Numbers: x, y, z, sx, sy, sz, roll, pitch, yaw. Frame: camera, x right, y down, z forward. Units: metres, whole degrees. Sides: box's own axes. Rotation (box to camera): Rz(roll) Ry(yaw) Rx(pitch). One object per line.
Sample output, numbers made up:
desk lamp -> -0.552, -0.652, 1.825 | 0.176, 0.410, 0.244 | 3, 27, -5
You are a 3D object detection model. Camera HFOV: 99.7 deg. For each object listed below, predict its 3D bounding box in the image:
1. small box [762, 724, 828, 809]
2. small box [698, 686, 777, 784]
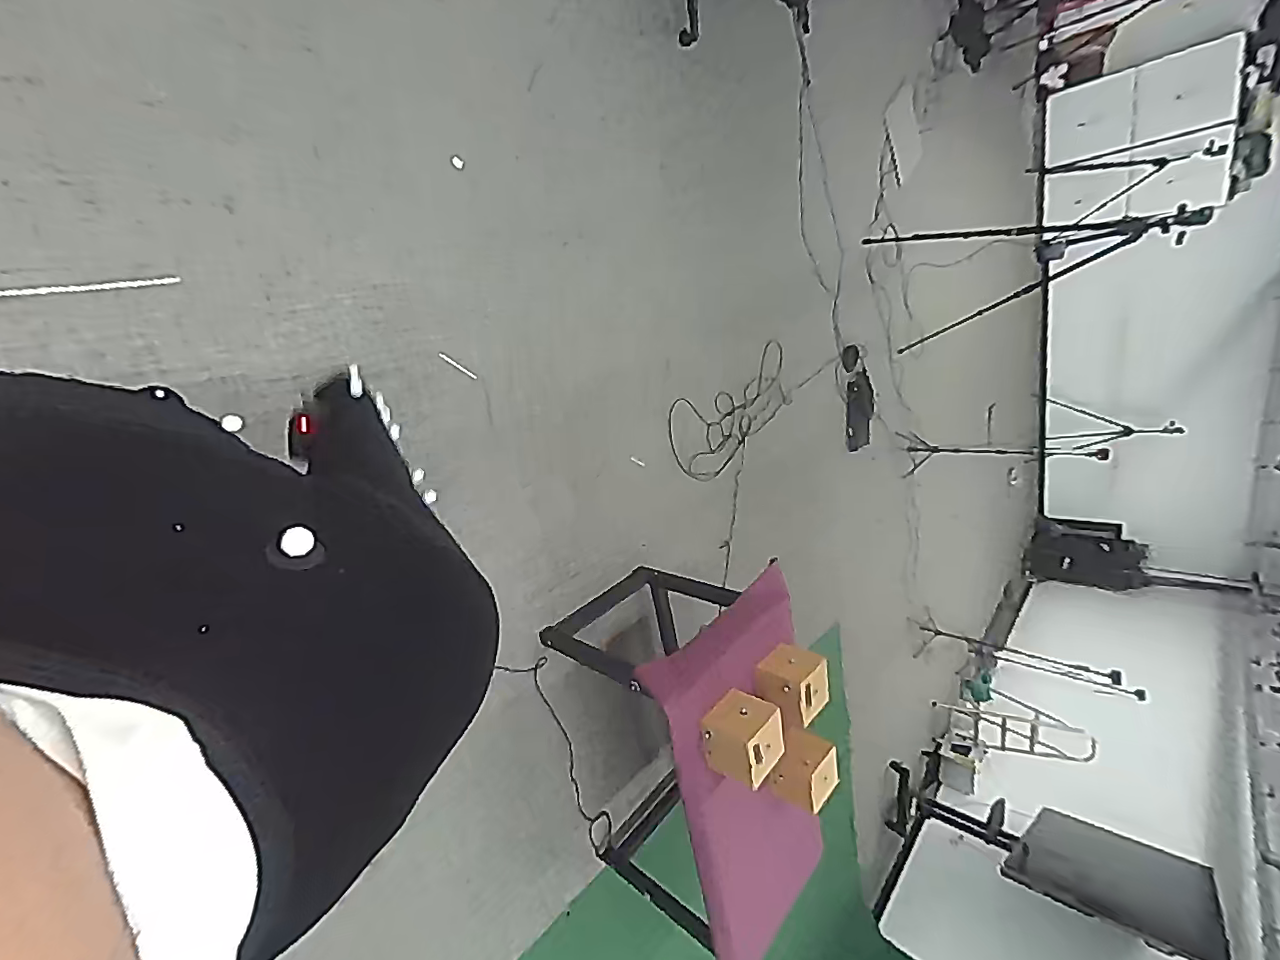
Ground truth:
small box -> 0.548, 1.002, 1.914 | 0.179, 0.176, 0.168 | -22, 110, -41
small box -> 0.286, 0.751, 1.613 | 0.179, 0.176, 0.168 | -25, 112, -43
